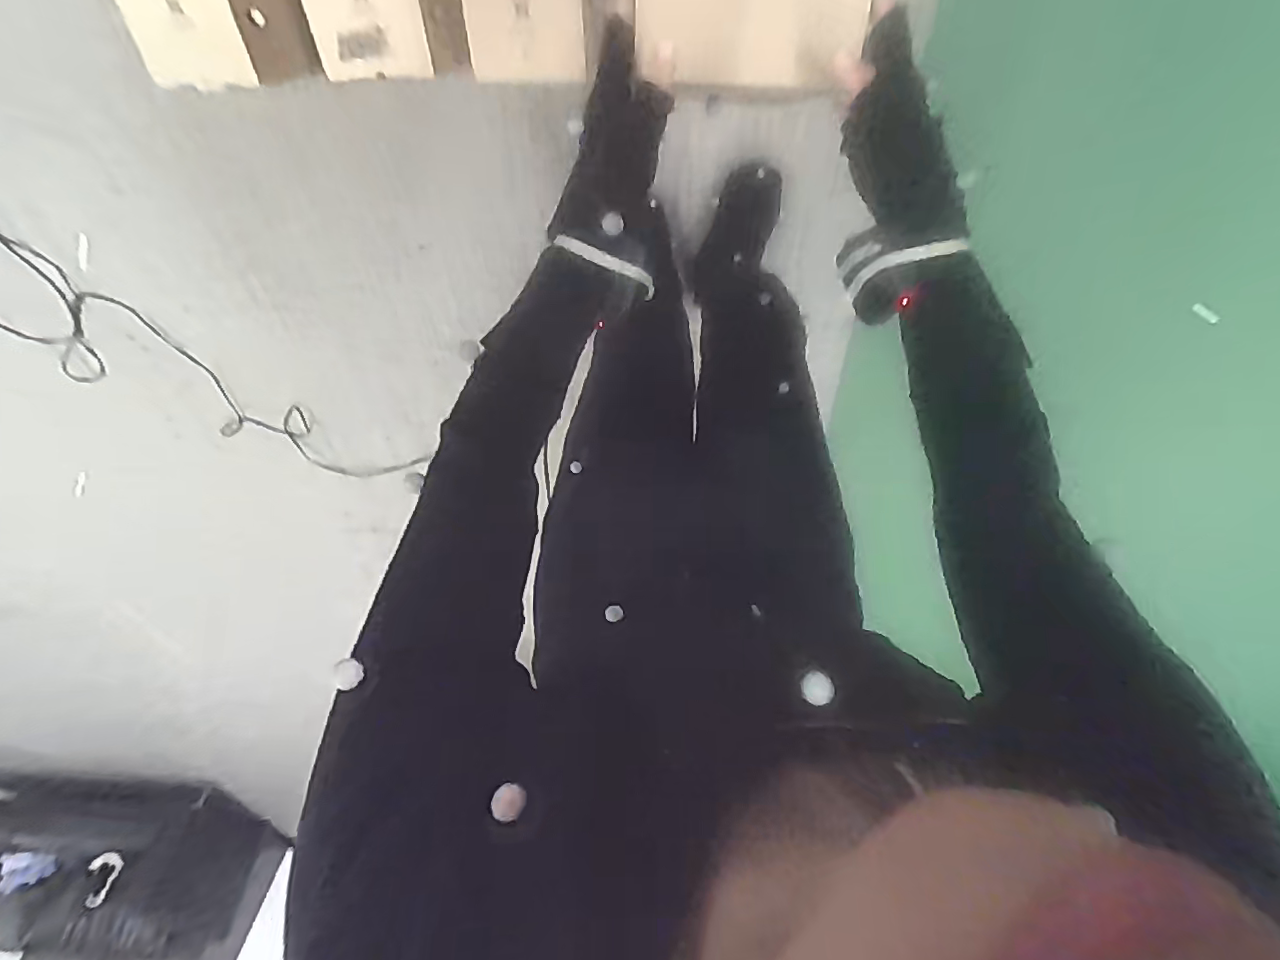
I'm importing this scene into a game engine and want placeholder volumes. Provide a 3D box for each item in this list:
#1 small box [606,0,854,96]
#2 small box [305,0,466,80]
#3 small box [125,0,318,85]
[{"bbox_3d":[0.062,-0.409,0.413,0.168,0.176,0.179,-1,120,-7],"label":"small box"},{"bbox_3d":[-0.376,-0.713,0.805,0.168,0.176,0.179,2,130,4],"label":"small box"},{"bbox_3d":[-0.641,-0.720,0.827,0.168,0.176,0.179,2,131,4],"label":"small box"}]
